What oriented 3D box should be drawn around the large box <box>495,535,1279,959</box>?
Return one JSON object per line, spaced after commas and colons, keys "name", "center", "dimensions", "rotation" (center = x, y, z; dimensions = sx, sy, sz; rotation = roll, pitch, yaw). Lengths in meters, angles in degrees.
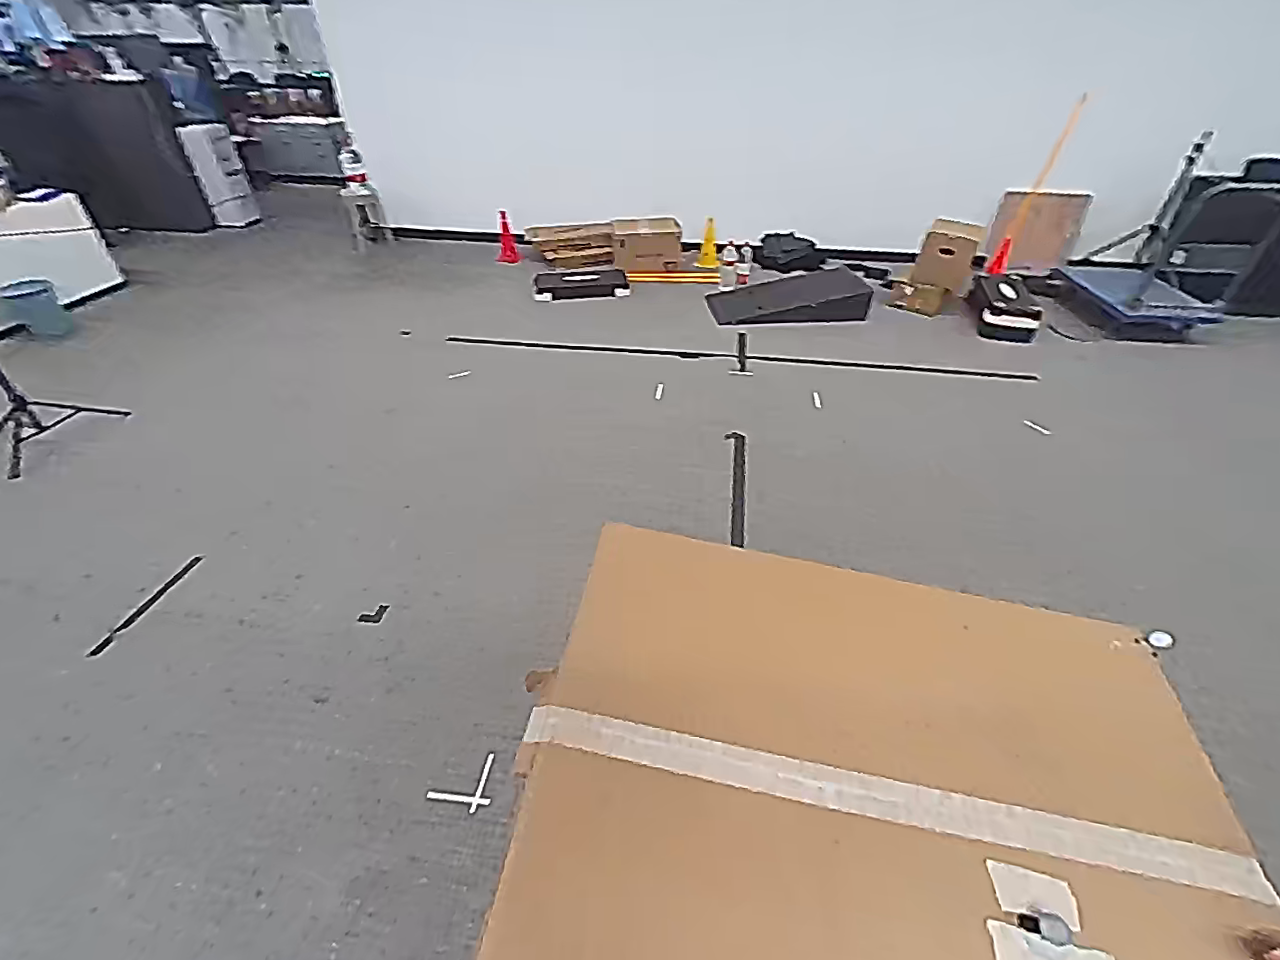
{"name": "large box", "center": [0.127, 0.287, 0.423], "dimensions": [0.408, 0.320, 0.320], "rotation": [12, 48, 3]}
